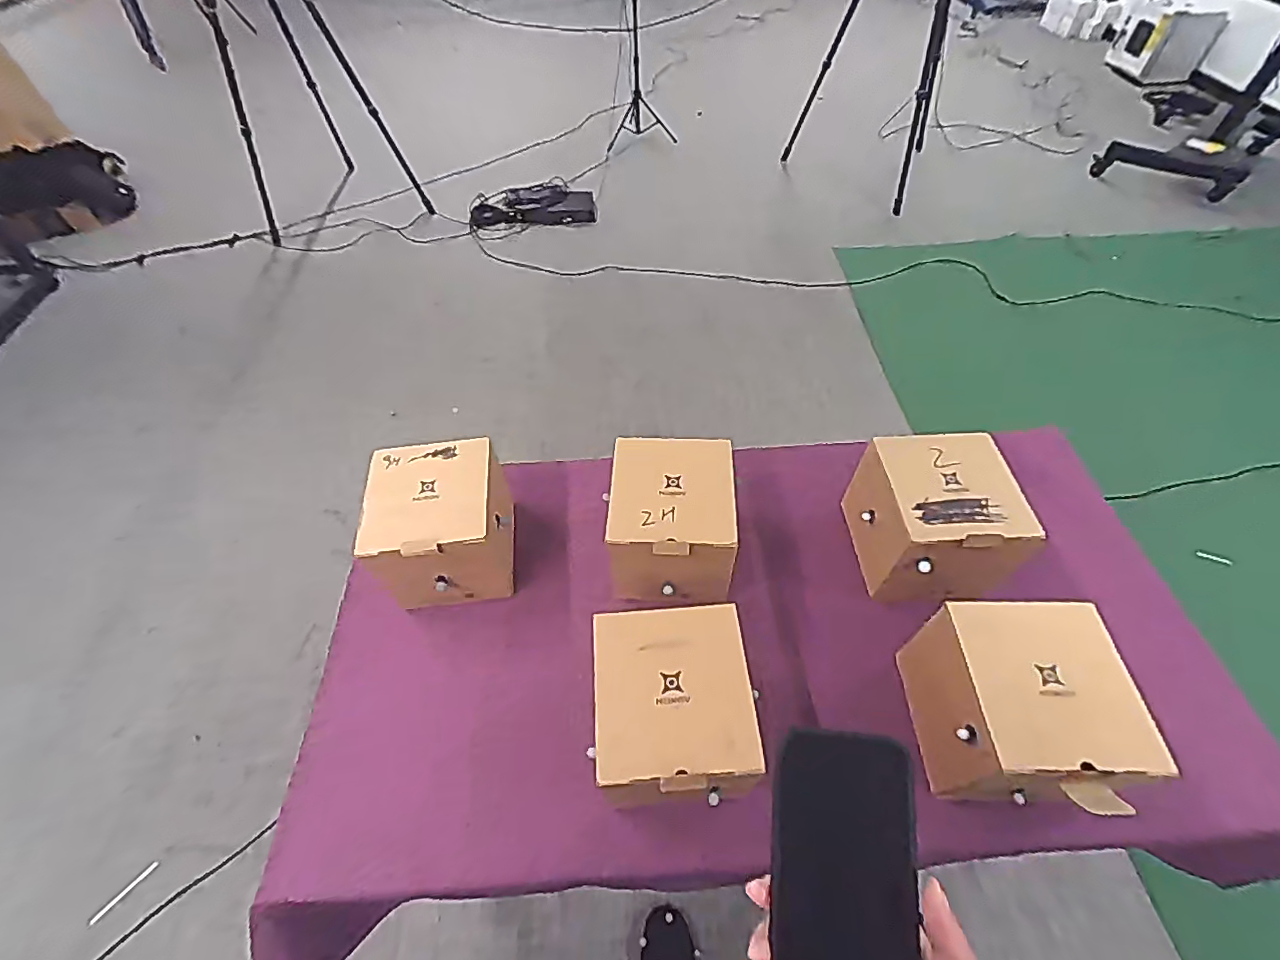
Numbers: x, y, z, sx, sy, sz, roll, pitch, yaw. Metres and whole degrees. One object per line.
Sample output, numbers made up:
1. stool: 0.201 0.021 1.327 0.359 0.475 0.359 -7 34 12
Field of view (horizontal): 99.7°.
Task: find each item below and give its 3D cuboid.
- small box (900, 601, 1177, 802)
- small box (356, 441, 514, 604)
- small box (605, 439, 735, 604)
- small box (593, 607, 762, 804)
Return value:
1. small box: 0.424 0.256 0.620 0.168 0.176 0.179 0 53 3
2. small box: -0.283 0.070 0.789 0.168 0.176 0.179 -7 54 -4
3. small box: 0.044 0.061 0.782 0.168 0.176 0.179 1 54 4
4. small box: 0.036 0.267 0.629 0.168 0.176 0.179 -4 52 -1
